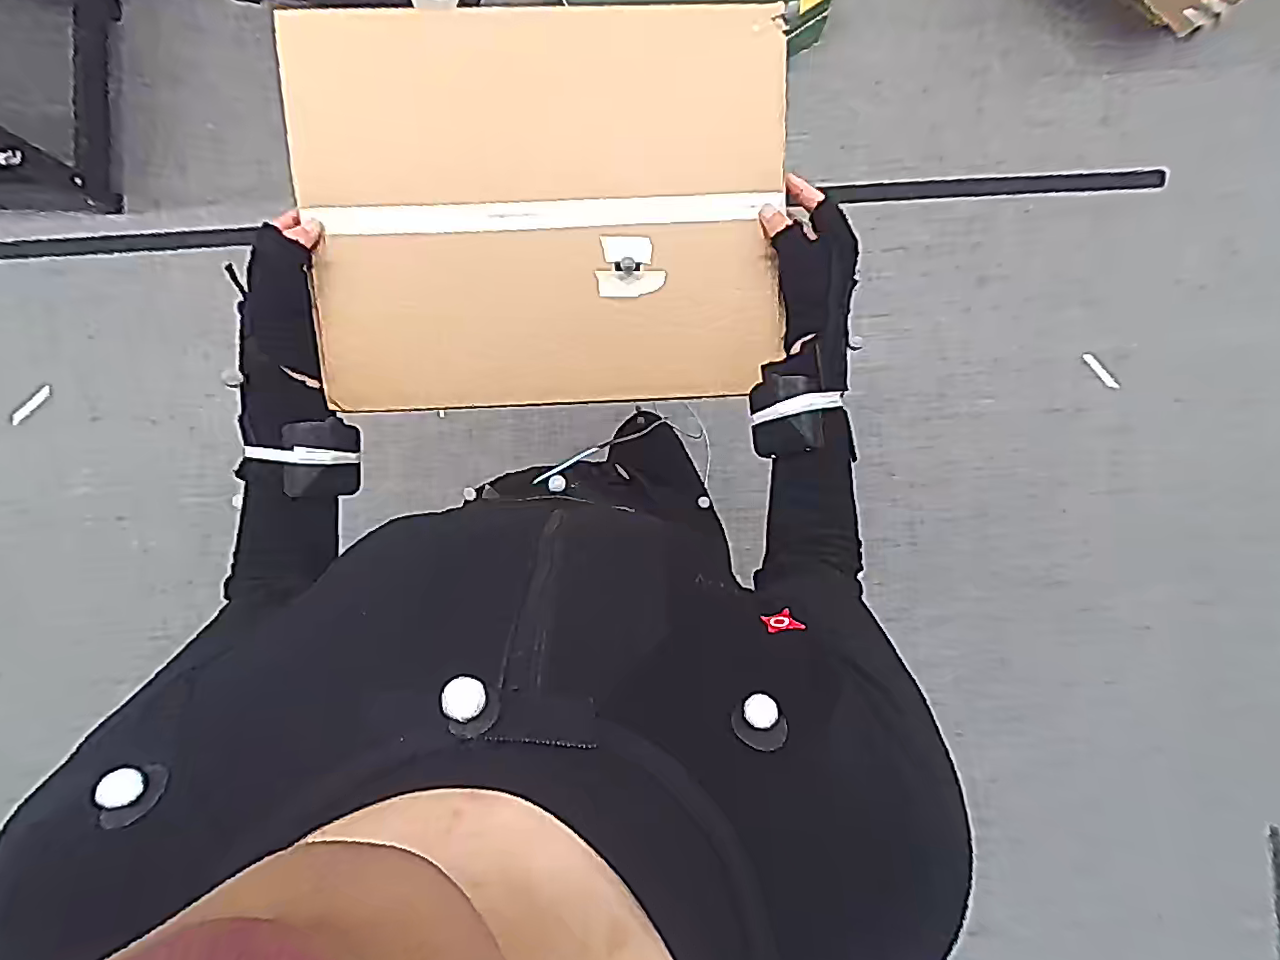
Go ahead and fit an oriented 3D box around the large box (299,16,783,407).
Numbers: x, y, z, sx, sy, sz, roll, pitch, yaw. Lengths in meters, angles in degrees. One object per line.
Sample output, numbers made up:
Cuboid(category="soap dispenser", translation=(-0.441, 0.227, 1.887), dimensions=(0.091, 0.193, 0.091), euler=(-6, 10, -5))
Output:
Cuboid(category="large box", translation=(-0.084, -0.252, 0.616), dimensions=(0.408, 0.320, 0.320), euler=(-3, 100, -3))
